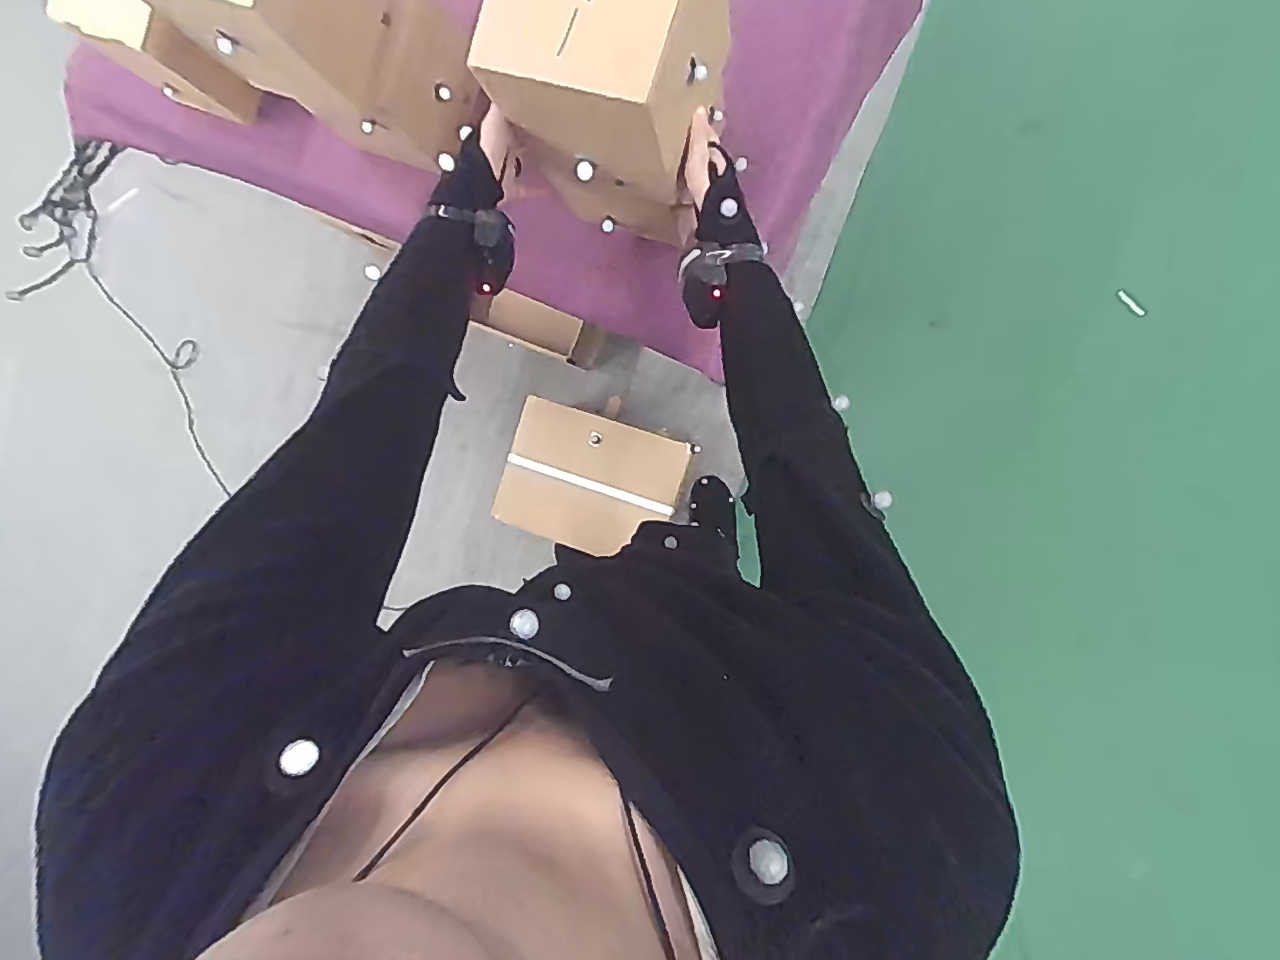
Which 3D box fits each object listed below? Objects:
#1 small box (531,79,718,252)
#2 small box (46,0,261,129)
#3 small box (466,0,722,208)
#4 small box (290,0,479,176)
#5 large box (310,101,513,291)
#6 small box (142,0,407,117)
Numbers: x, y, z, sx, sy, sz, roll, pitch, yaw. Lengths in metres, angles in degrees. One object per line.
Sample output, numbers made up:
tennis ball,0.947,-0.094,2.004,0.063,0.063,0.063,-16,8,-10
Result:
small box,-0.007,-0.415,0.668,0.168,0.176,0.179,20,95,10
small box,-0.673,-0.661,0.782,0.168,0.176,0.179,23,96,8
small box,-0.027,-0.394,0.505,0.168,0.176,0.179,20,95,11
small box,-0.346,-0.543,0.725,0.179,0.176,0.168,21,95,9
large box,-0.584,-0.779,1.433,0.320,0.320,0.408,22,98,8
small box,-0.386,-0.522,0.566,0.179,0.176,0.168,20,96,9
